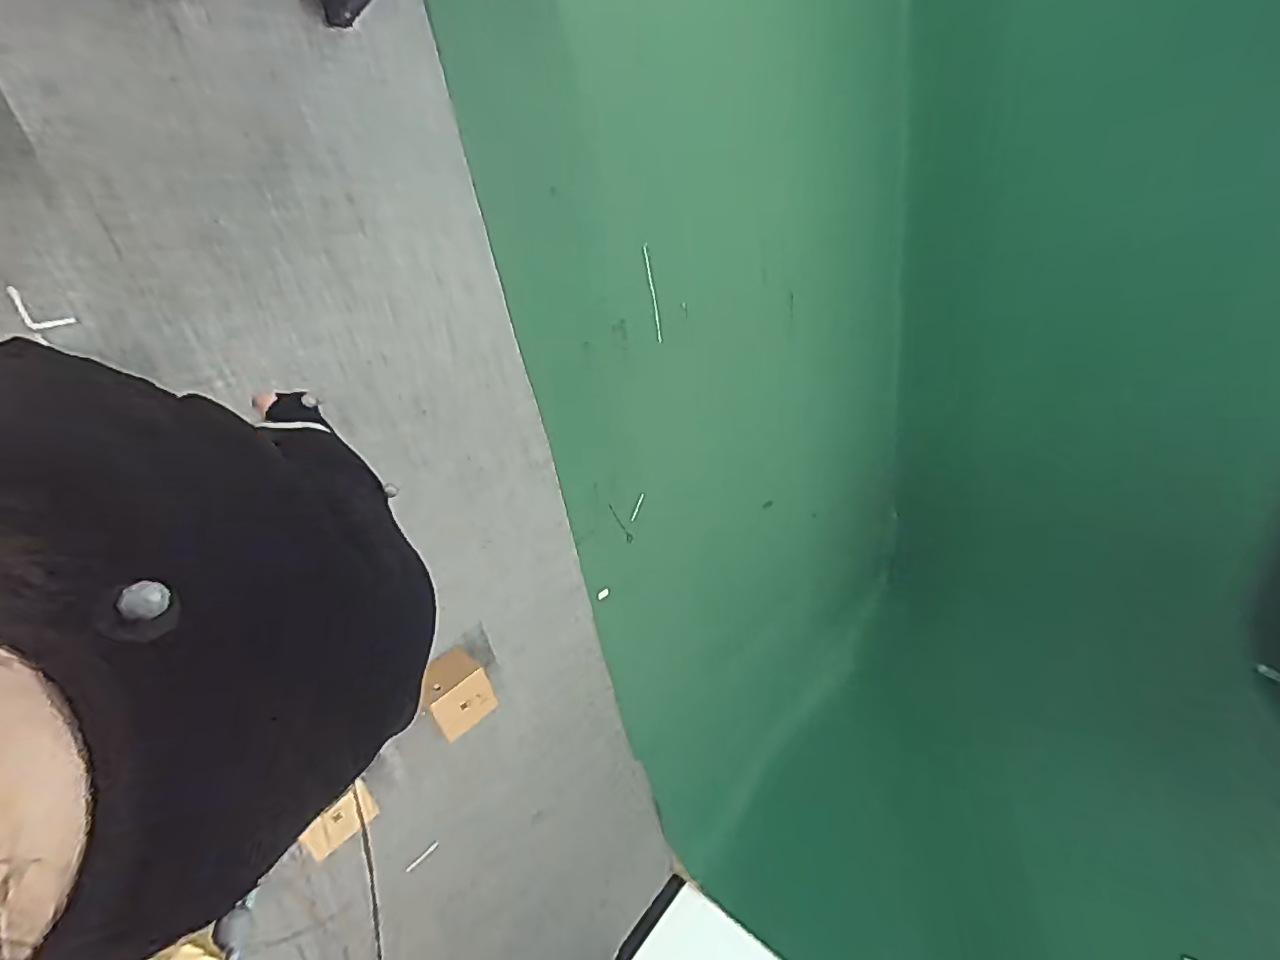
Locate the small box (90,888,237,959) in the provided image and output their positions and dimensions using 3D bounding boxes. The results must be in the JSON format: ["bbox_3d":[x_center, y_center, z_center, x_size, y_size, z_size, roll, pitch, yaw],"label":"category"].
[{"bbox_3d":[-0.970,0.988,1.096,0.179,0.176,0.168,-40,125,-32],"label":"small box"}]

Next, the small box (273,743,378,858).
[{"bbox_3d":[-0.835,0.835,1.431,0.168,0.176,0.179,-32,122,-36],"label":"small box"}]

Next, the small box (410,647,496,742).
[{"bbox_3d":[-0.577,0.647,1.653,0.179,0.176,0.168,-33,122,-36],"label":"small box"}]
